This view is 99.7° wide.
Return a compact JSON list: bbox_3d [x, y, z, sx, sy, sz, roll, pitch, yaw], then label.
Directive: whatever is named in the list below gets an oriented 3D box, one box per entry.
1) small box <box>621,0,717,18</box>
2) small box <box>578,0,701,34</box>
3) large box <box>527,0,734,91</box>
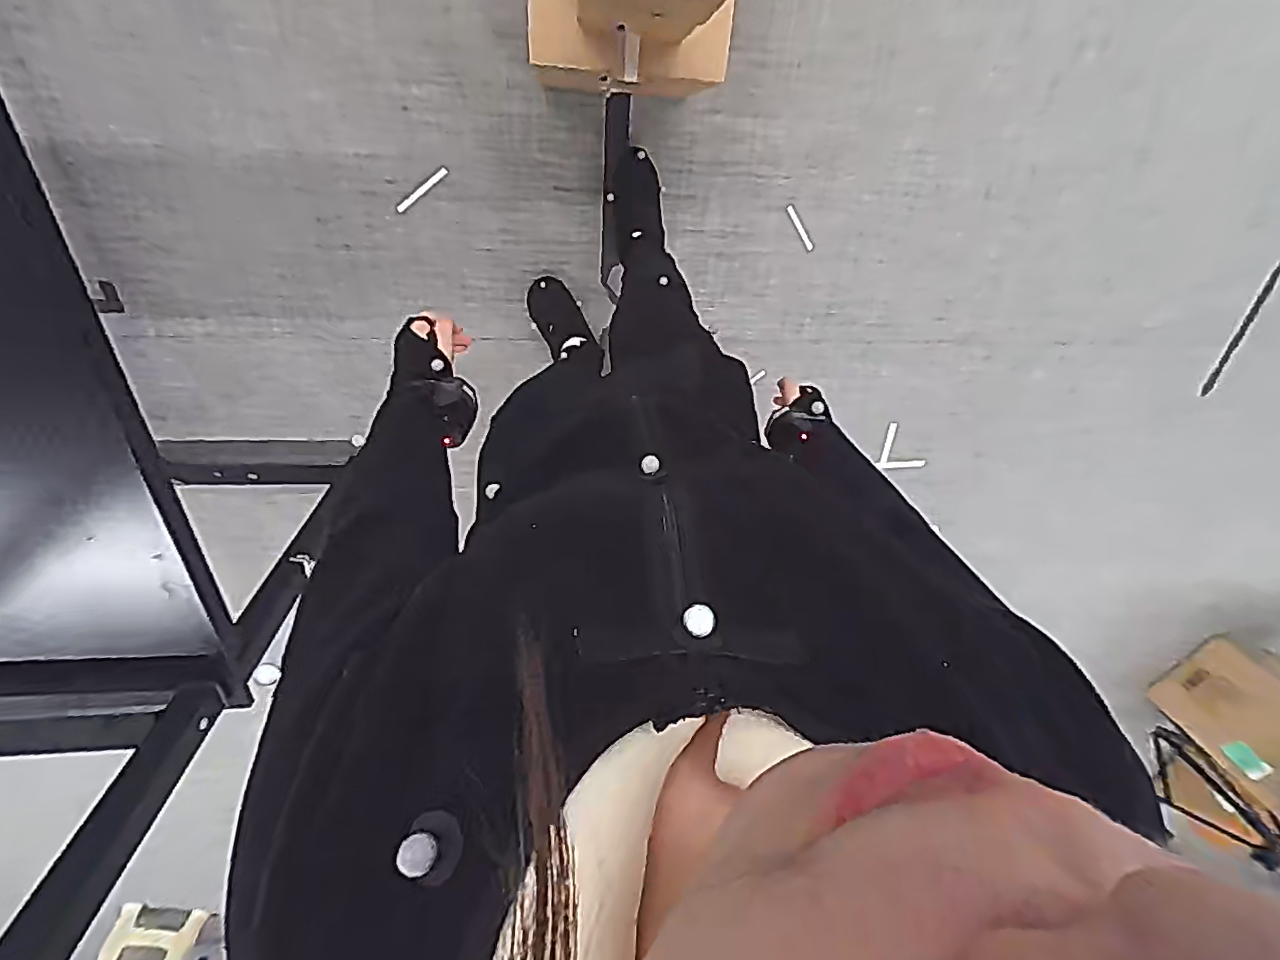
[{"bbox_3d":[0.023,-0.624,0.561,0.168,0.176,0.179,5,120,-9],"label":"small box"},{"bbox_3d":[0.005,-0.713,0.697,0.168,0.176,0.179,4,121,-9],"label":"small box"},{"bbox_3d":[-0.022,-0.893,0.872,0.320,0.320,0.408,-1,121,-8],"label":"large box"}]
